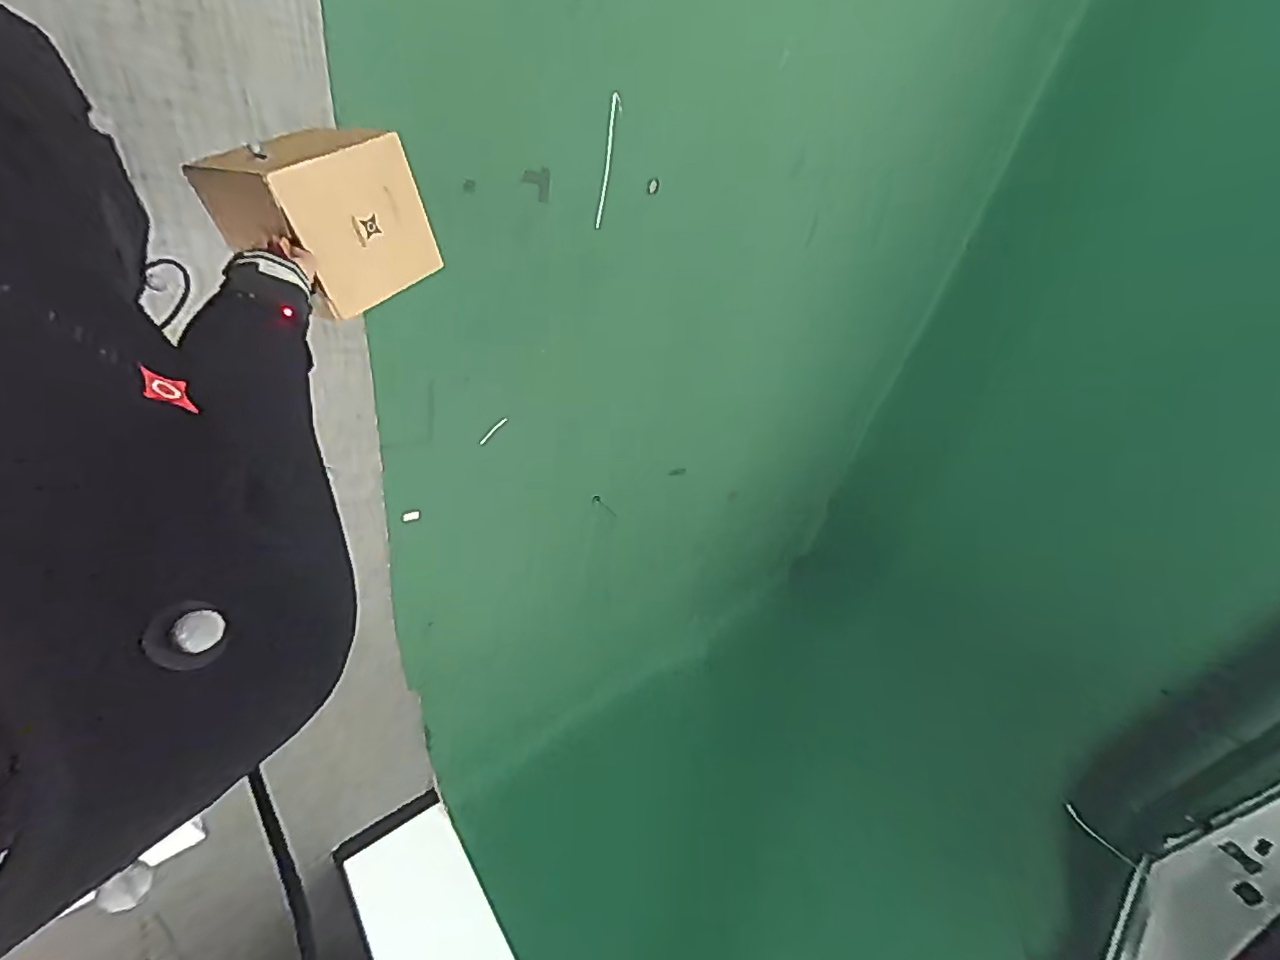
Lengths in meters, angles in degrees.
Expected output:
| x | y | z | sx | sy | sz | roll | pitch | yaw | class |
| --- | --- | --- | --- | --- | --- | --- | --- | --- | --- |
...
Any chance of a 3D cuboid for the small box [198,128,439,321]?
| x | y | z | sx | sy | sz | roll | pitch | yaw | class |
| --- | --- | --- | --- | --- | --- | --- | --- | --- | --- |
| -0.396 | -0.323 | 0.674 | 0.179 | 0.176 | 0.168 | -53 | 151 | -36 | small box |
